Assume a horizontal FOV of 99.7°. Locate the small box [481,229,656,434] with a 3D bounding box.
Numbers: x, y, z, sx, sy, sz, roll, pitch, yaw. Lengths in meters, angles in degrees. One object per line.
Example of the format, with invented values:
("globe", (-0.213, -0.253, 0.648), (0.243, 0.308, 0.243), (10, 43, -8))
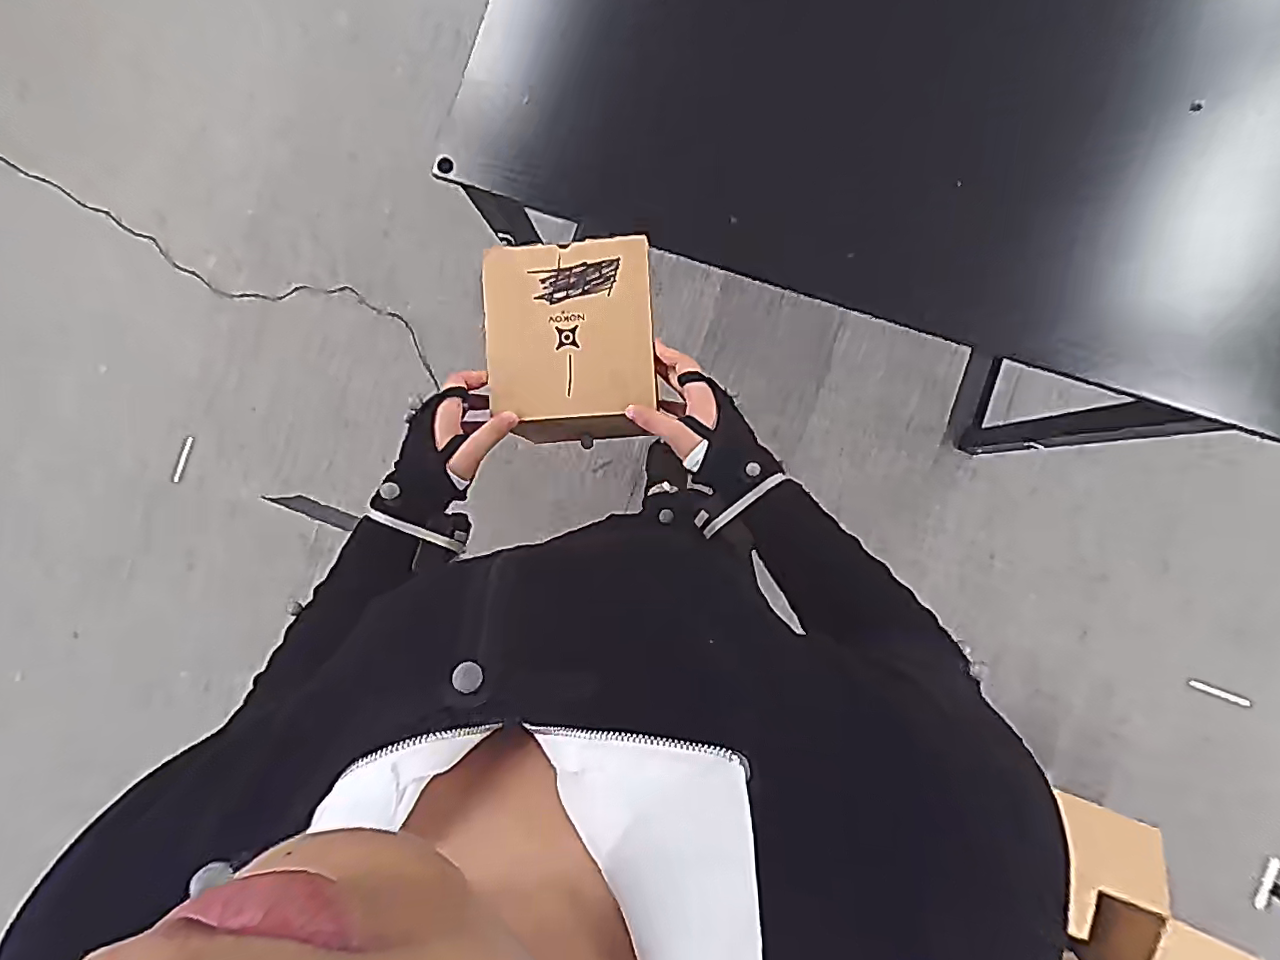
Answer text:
("small box", (-0.069, -0.152, 0.608), (0.168, 0.176, 0.179), (-3, 88, 4))
